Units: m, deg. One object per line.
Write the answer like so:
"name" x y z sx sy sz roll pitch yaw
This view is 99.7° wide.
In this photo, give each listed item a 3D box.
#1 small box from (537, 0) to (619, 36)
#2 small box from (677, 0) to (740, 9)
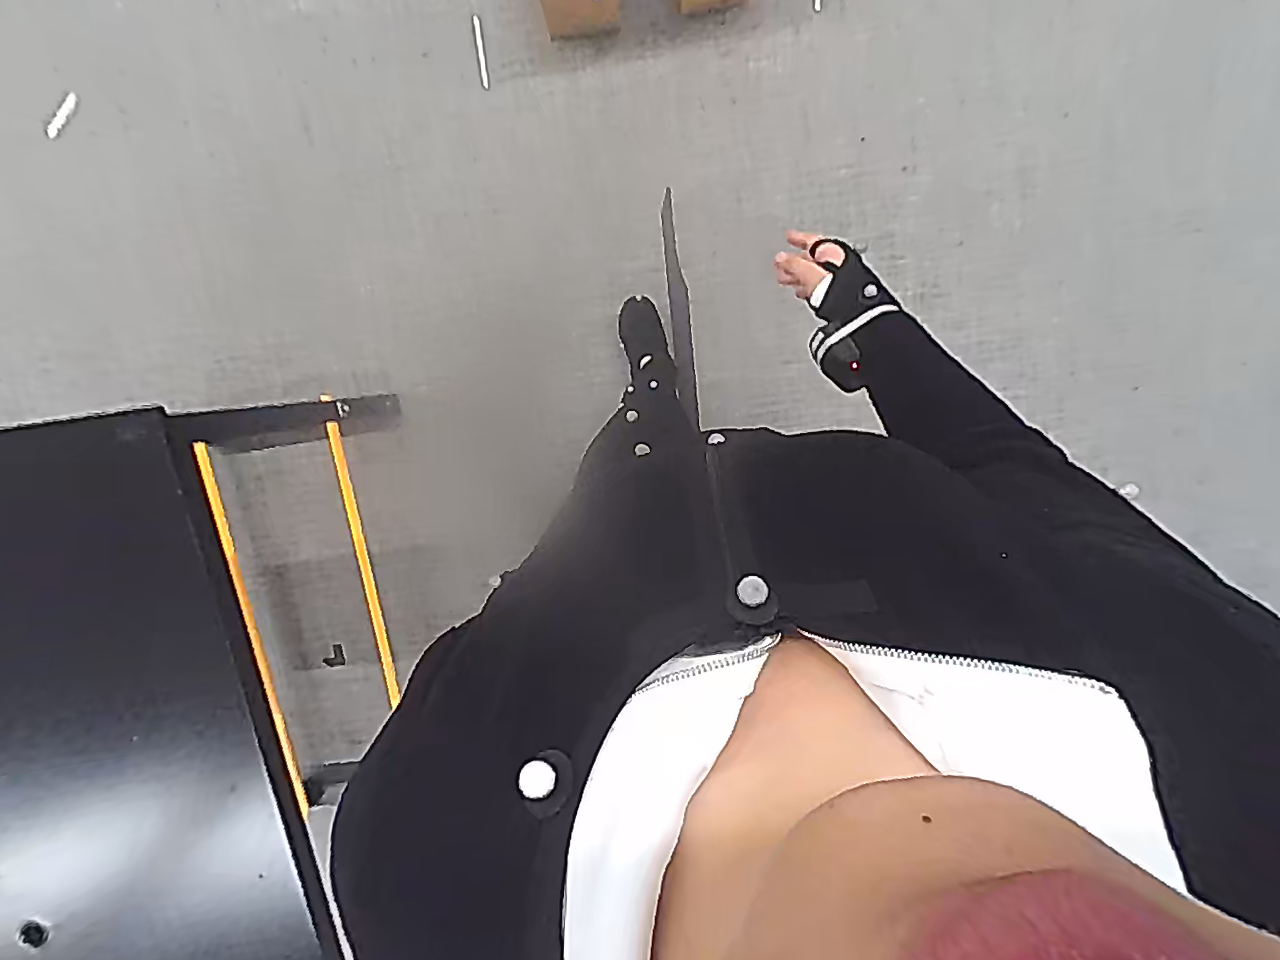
"small box" -0.141 -1.117 1.179 0.179 0.176 0.168 -6 101 4
"small box" 0.153 -1.163 1.162 0.168 0.176 0.179 -10 102 4
